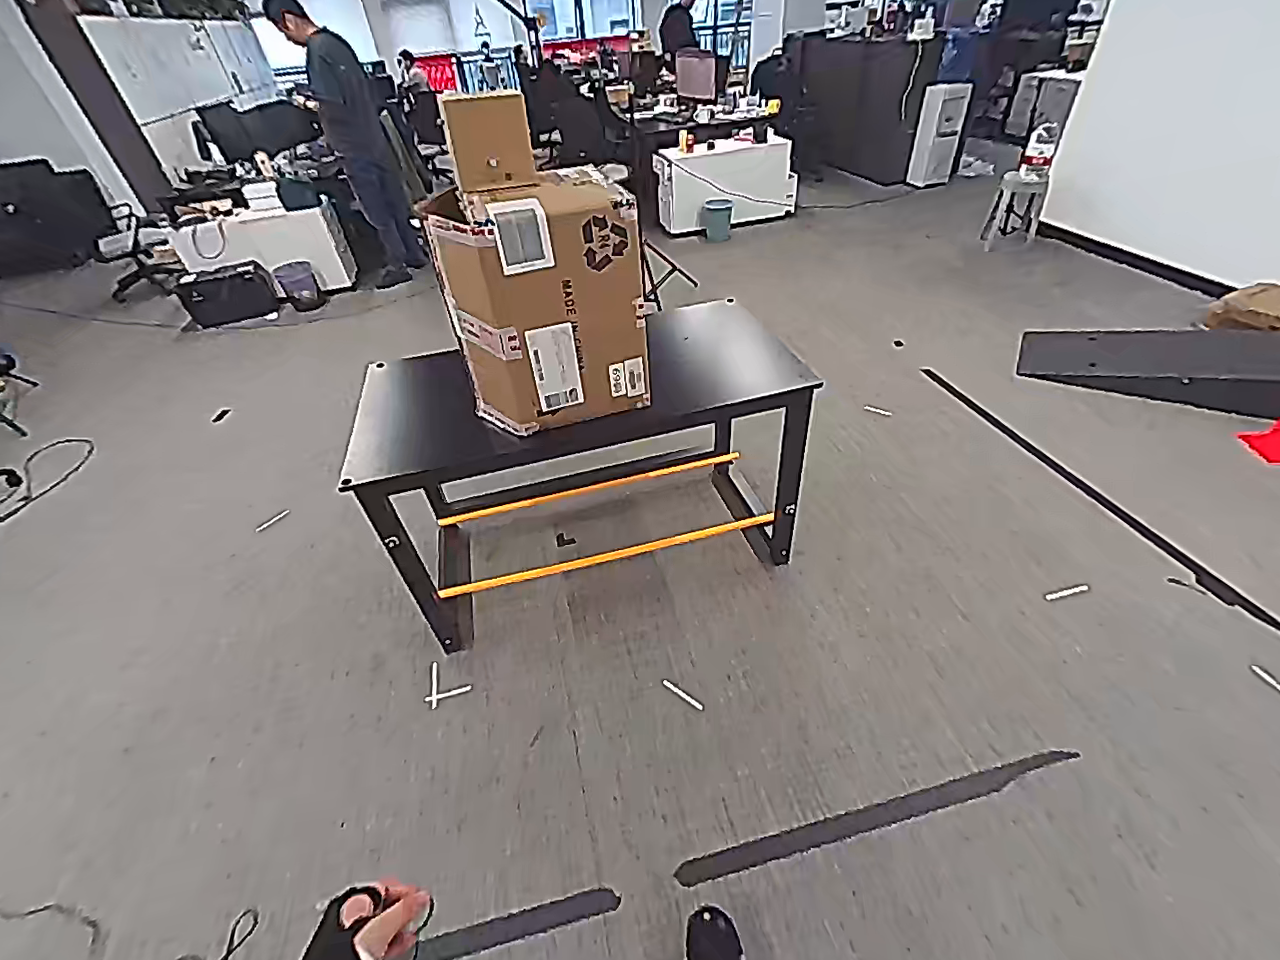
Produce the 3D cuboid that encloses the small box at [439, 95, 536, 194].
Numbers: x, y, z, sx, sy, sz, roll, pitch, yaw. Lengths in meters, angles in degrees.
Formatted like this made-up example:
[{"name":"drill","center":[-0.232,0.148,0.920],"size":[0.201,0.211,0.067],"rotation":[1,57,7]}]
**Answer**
[{"name":"small box","center":[-0.337,-0.744,1.199],"size":[0.168,0.176,0.179],"rotation":[-15,40,-13]}]
